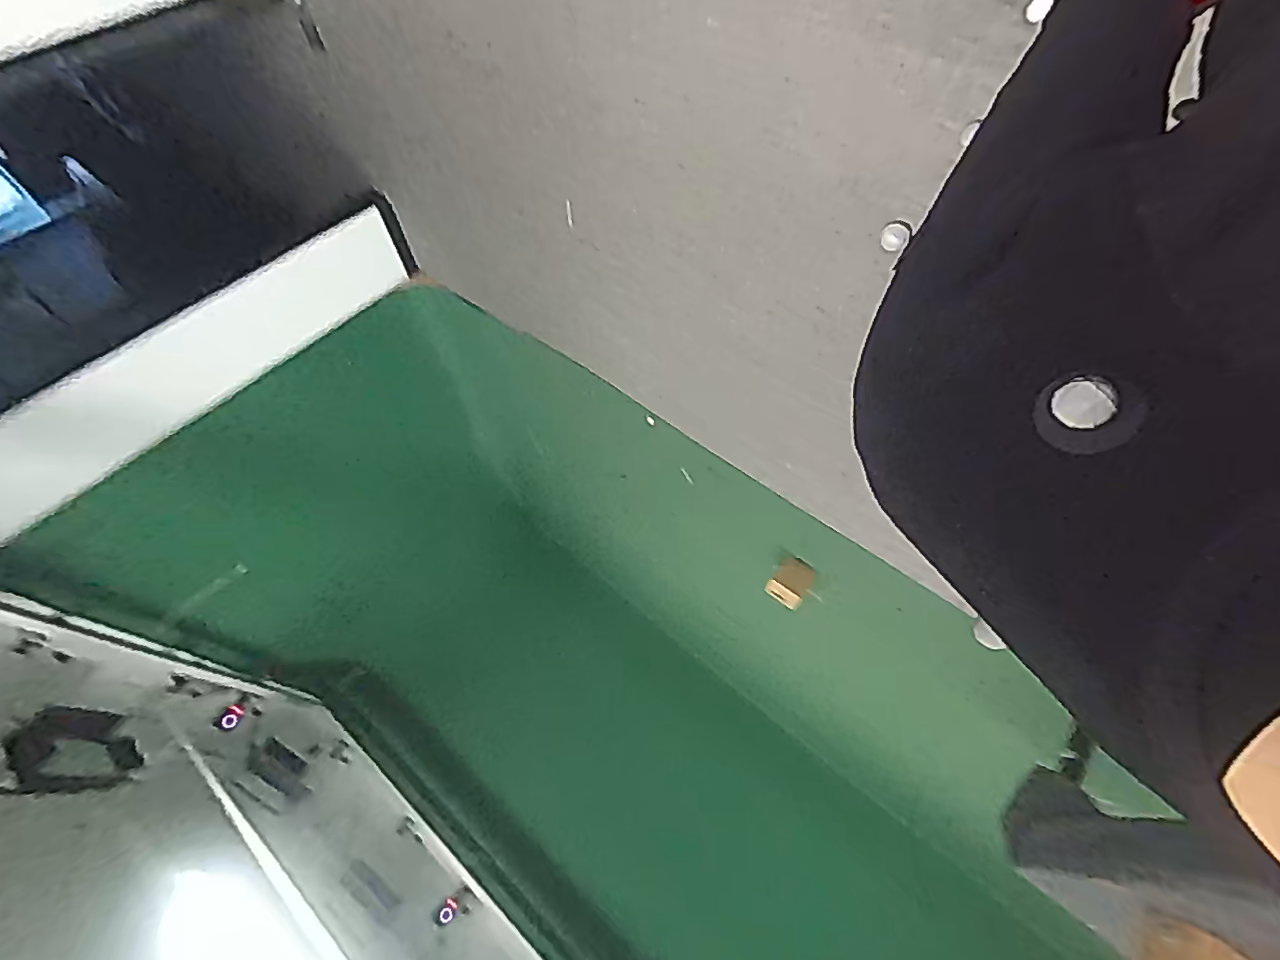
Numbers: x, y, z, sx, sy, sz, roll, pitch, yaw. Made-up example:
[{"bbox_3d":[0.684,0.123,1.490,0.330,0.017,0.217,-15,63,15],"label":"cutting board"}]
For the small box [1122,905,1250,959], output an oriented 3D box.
[{"bbox_3d":[1.244,1.109,1.205,0.179,0.176,0.168,36,155,18],"label":"small box"}]
